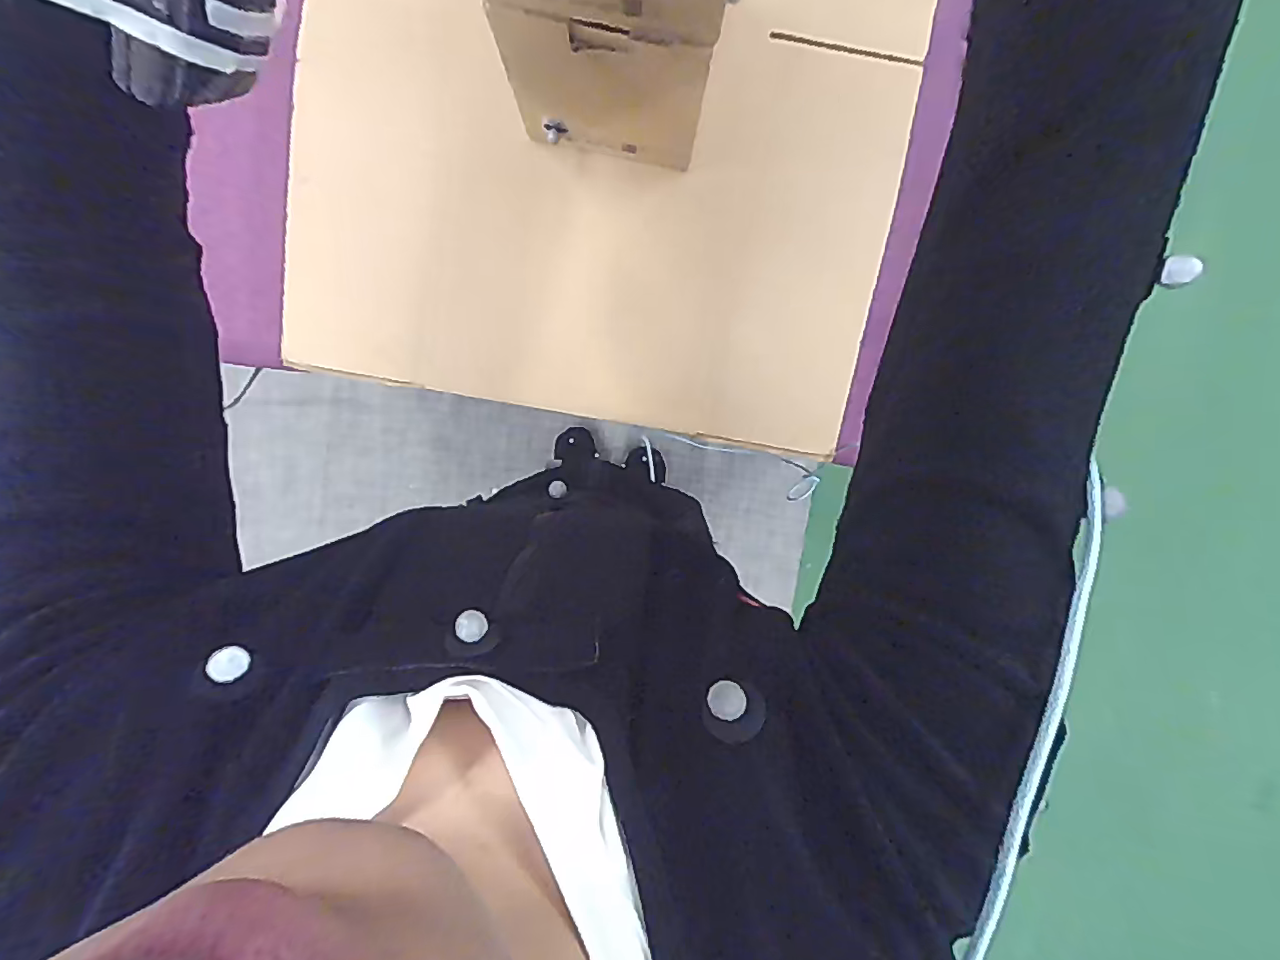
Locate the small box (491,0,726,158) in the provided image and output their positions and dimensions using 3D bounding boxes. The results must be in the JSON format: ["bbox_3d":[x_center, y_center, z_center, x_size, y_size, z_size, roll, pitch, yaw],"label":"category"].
[{"bbox_3d":[-0.013,-0.401,0.448,0.168,0.176,0.179,8,96,-2],"label":"small box"}]
